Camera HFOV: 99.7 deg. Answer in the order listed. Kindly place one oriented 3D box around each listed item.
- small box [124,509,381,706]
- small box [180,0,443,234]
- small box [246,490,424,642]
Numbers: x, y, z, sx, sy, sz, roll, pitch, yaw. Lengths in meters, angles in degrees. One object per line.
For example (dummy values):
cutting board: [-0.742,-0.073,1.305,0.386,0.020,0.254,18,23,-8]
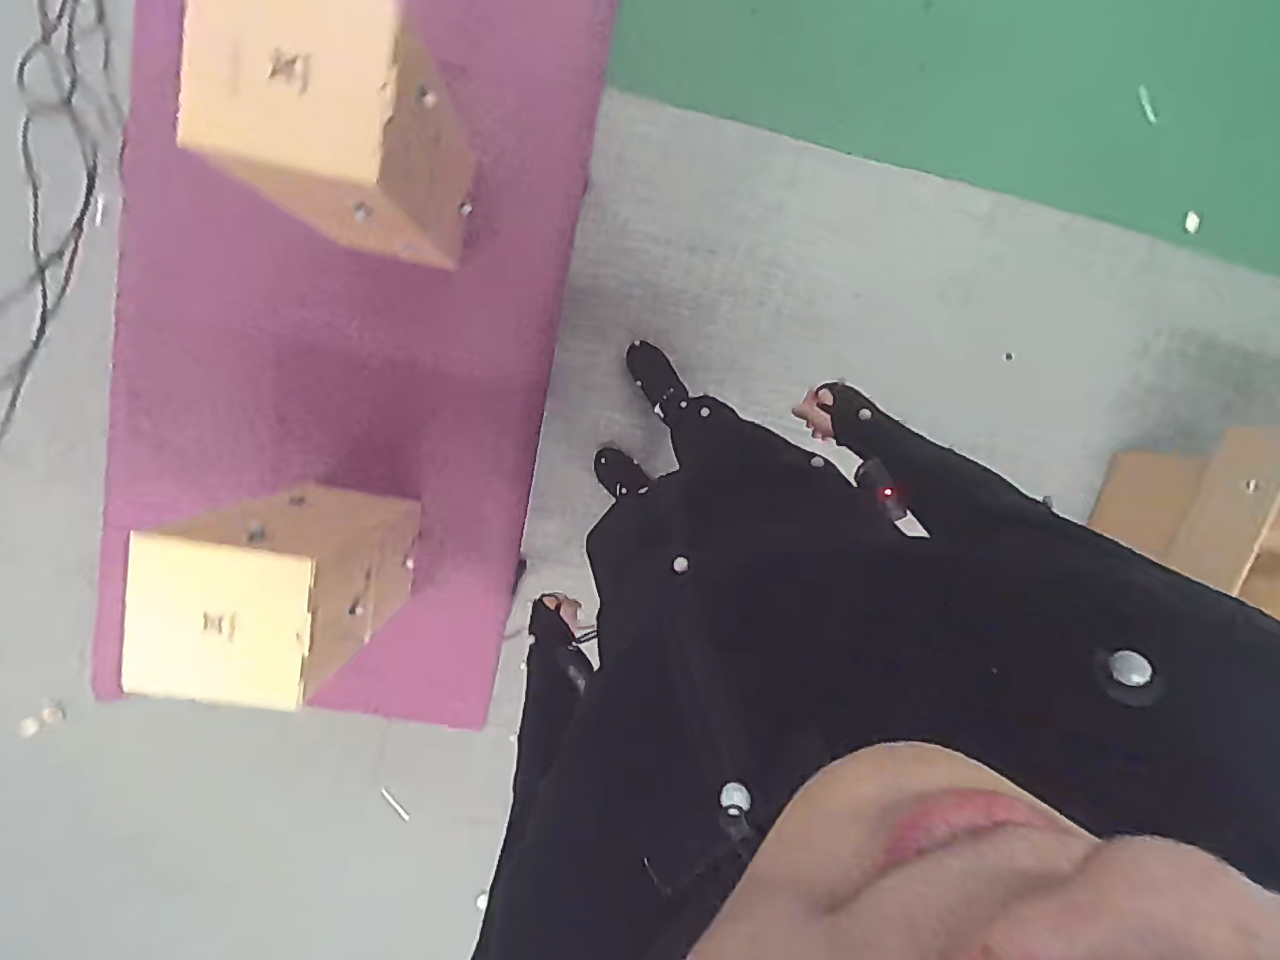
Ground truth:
small box: [-0.431,0.134,0.627,0.179,0.176,0.168,9,96,-5]
small box: [-0.322,-0.376,0.566,0.179,0.176,0.168,10,97,-5]
small box: [-0.440,0.114,0.788,0.179,0.176,0.168,10,97,-5]
